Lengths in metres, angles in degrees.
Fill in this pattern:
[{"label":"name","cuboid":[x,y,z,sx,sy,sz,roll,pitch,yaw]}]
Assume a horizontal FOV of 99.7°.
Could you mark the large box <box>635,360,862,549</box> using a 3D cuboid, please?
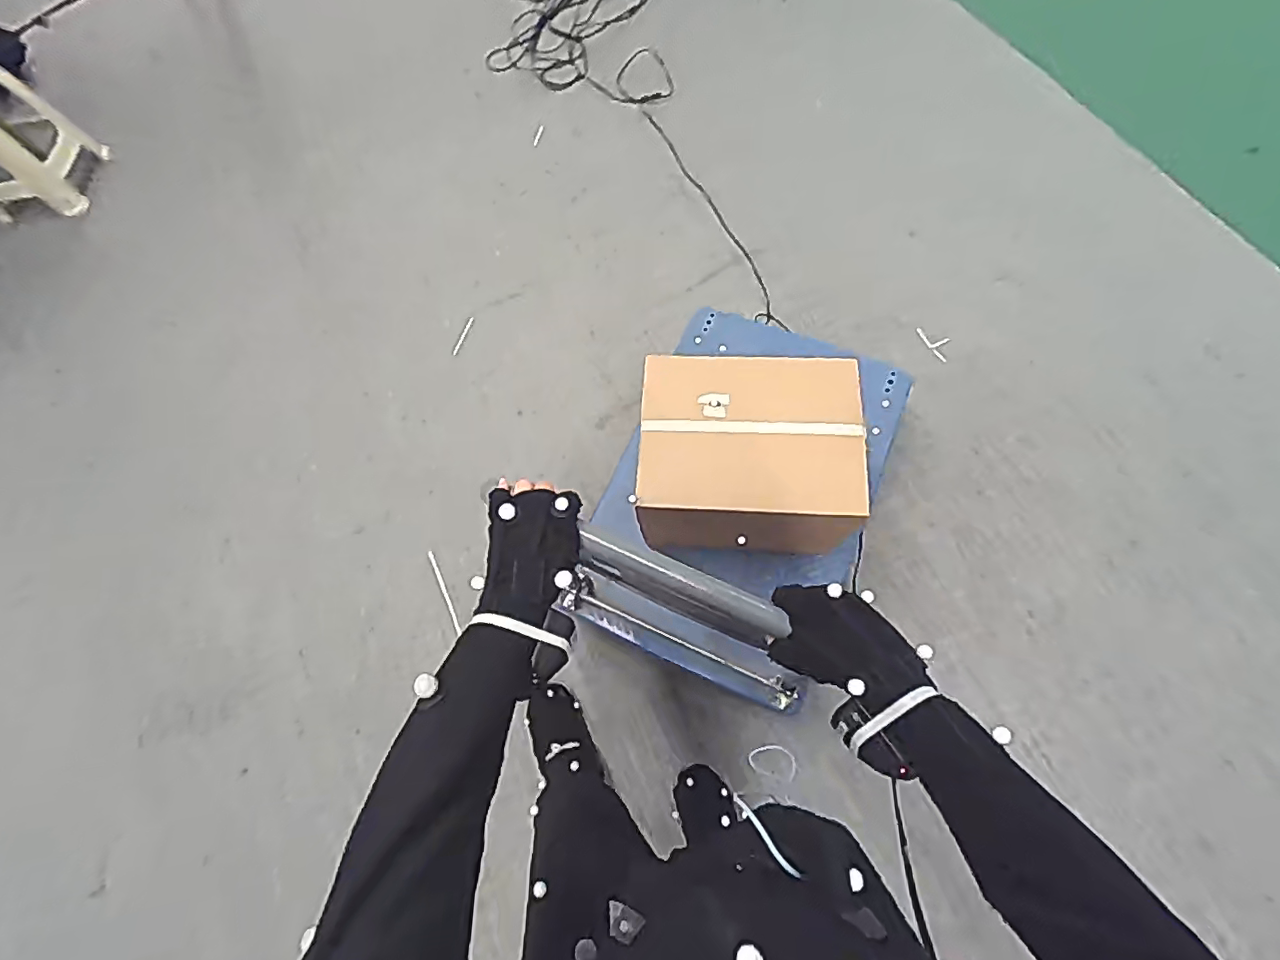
[{"label":"large box","cuboid":[0.213,-0.038,1.144,0.408,0.320,0.320,2,69,7]}]
